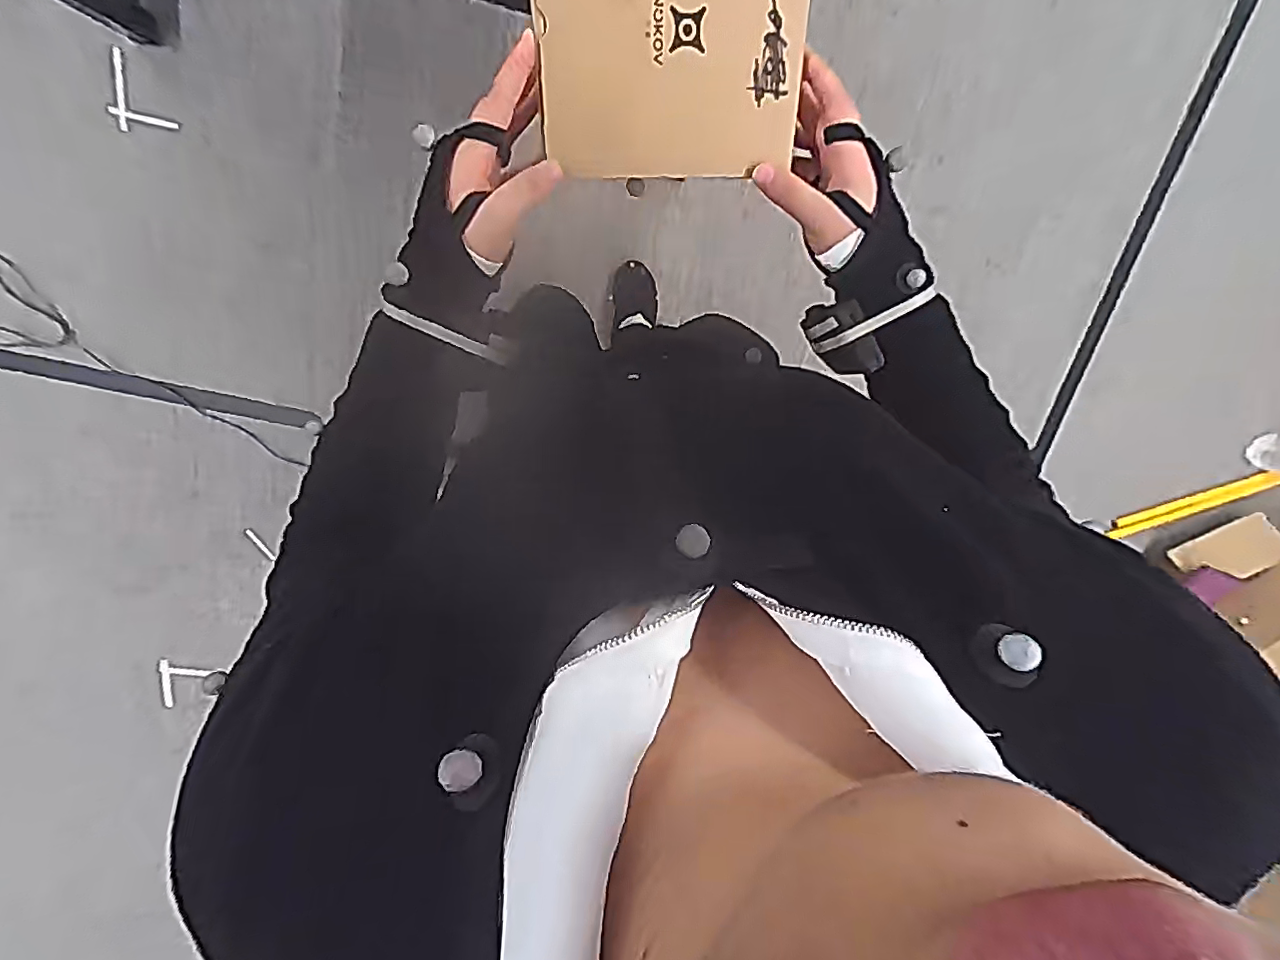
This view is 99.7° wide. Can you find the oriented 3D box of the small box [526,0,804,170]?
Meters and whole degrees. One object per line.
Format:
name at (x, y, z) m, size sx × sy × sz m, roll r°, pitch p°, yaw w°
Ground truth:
small box at (0.009, -0.329, 0.405) m, size 0.179 × 0.176 × 0.168 m, roll -4°, pitch 119°, yaw -6°
